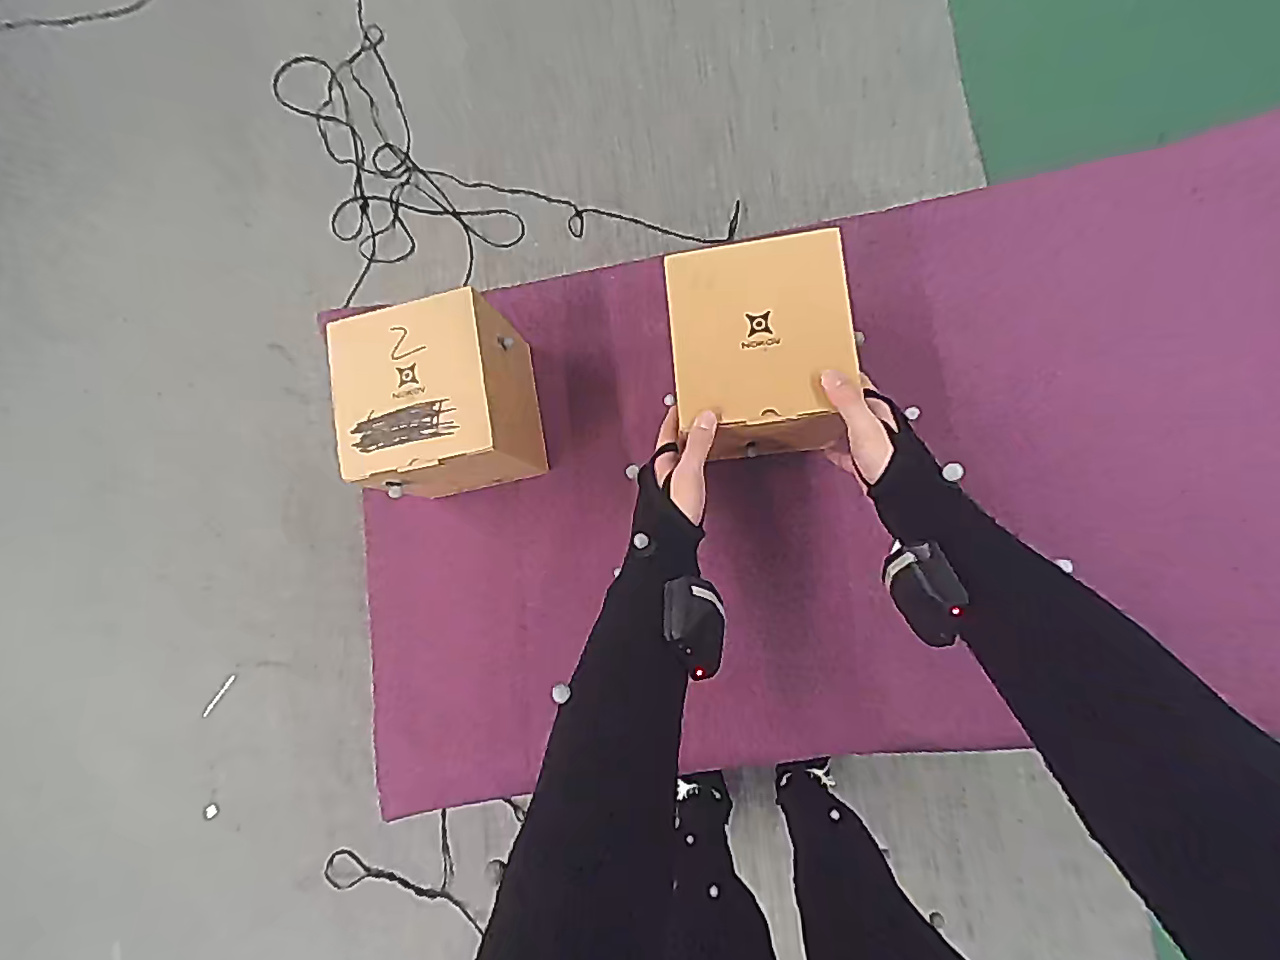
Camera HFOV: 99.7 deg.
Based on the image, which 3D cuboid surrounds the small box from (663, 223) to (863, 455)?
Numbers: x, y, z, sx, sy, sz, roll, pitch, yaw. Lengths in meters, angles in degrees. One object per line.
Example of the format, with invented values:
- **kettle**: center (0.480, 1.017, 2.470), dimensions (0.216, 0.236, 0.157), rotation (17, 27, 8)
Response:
- **small box**: center (0.119, -0.132, 0.570), dimensions (0.168, 0.176, 0.179), rotation (-7, 83, 9)
